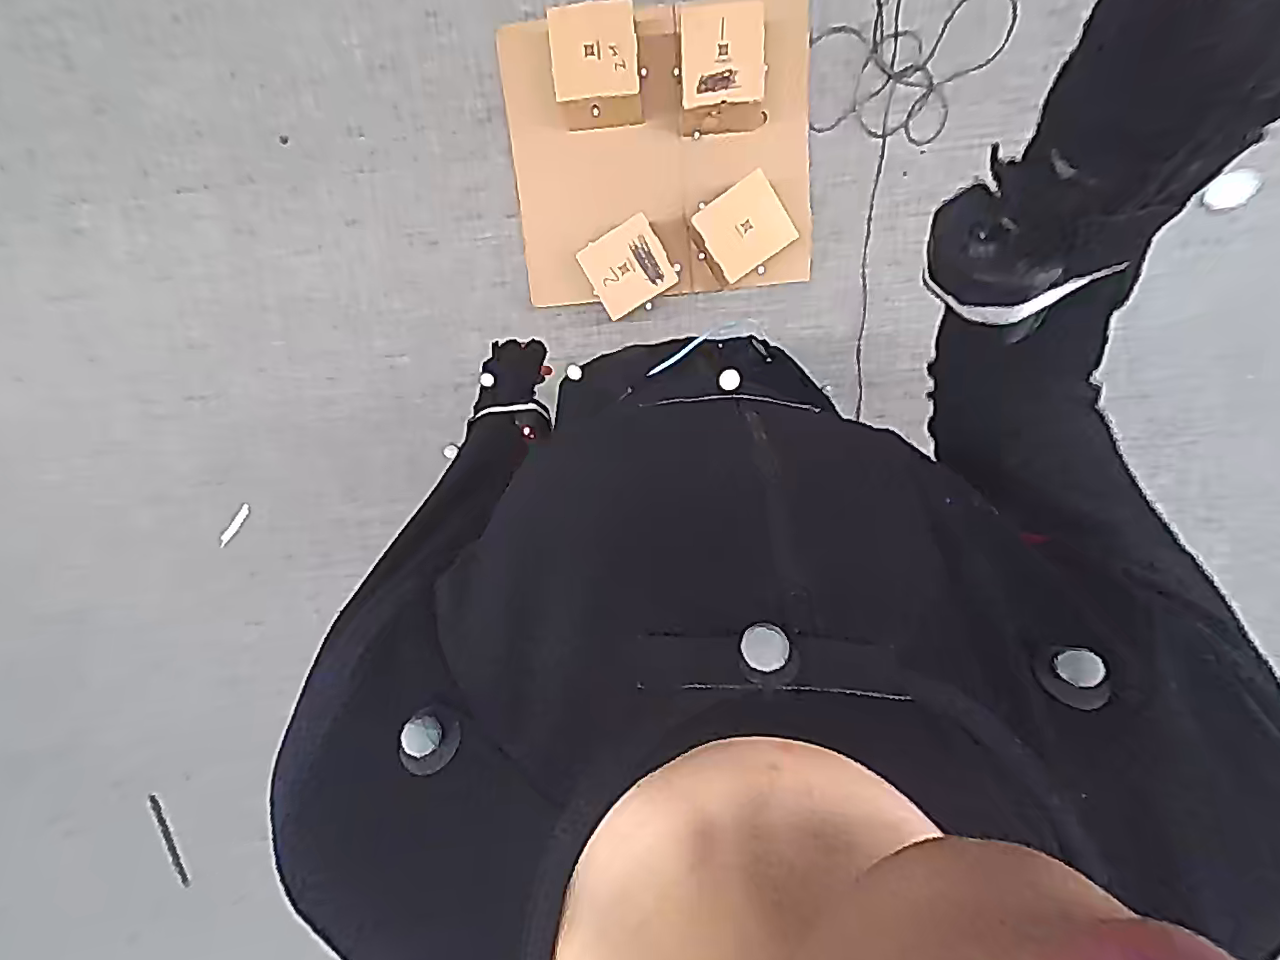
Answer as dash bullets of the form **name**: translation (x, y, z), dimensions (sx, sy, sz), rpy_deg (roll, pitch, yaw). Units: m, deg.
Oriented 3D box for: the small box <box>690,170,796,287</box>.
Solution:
- **small box**: translation (0.227, -0.567, 1.242), dimensions (0.179, 0.176, 0.168), rpy_deg (-32, 101, 12)
